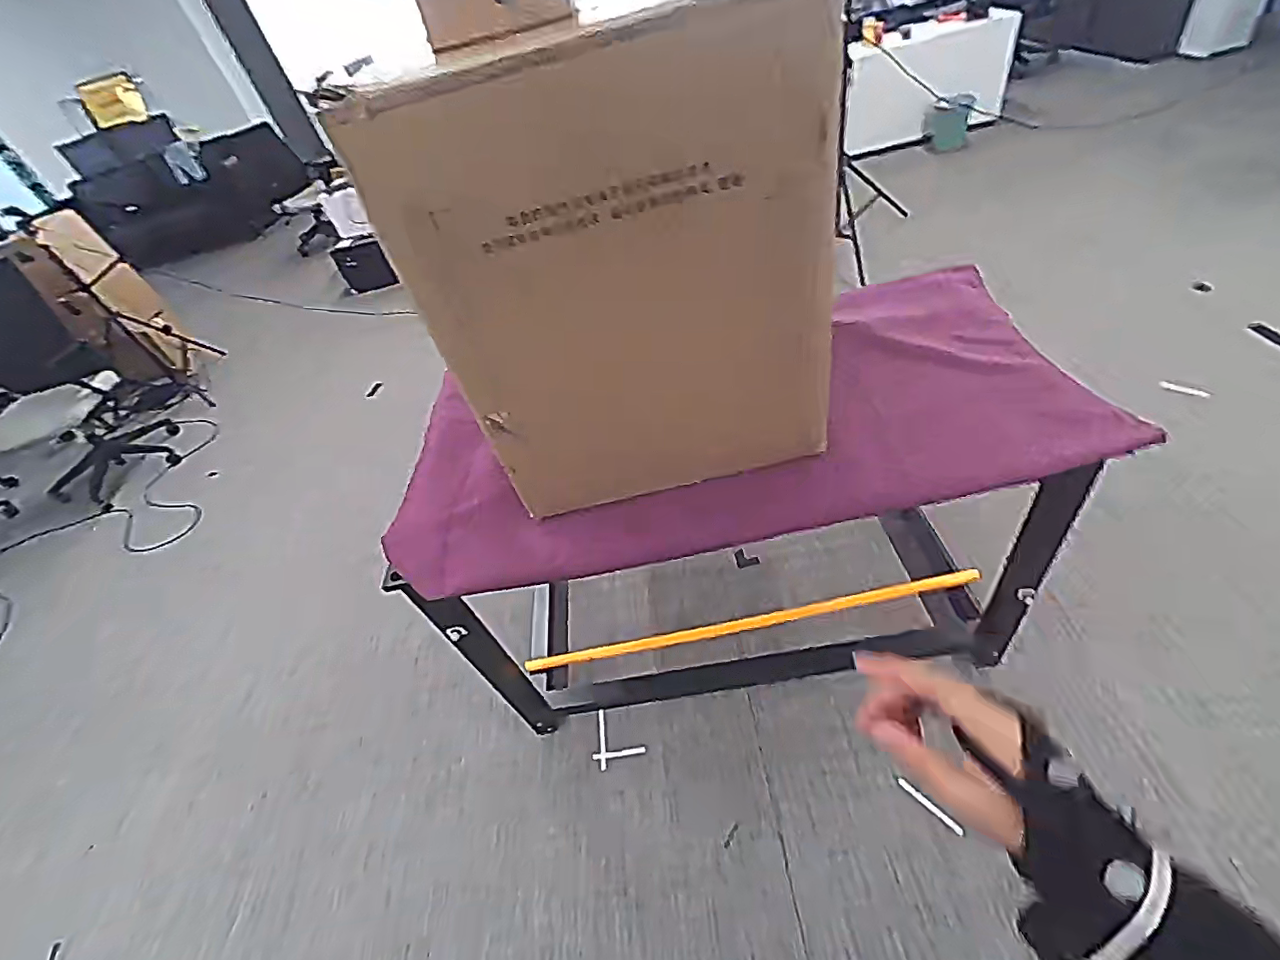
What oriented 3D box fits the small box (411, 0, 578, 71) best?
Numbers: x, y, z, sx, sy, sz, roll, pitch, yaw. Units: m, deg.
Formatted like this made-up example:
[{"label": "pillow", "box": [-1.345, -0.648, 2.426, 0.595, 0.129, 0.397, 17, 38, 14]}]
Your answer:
[{"label": "small box", "box": [-0.178, -0.606, 0.625, 0.179, 0.176, 0.168, -11, 45, 5]}]
